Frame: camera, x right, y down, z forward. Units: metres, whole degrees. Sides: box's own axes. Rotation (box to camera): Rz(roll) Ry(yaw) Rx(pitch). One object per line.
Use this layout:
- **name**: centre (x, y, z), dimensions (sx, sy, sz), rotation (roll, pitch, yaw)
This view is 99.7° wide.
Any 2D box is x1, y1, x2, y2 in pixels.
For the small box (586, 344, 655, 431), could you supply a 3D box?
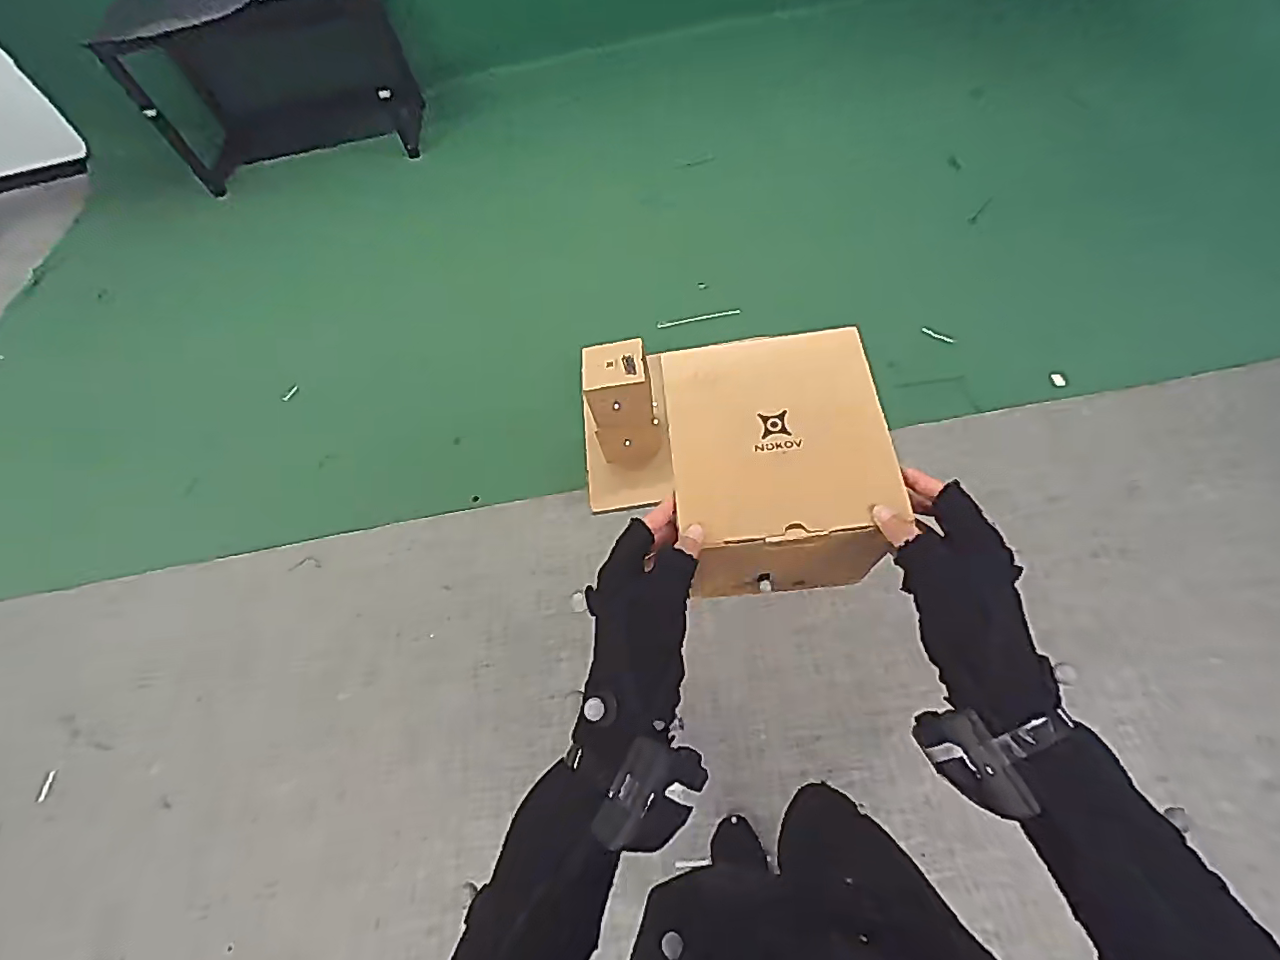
- **small box**: centre (-0.052, -0.263, 1.566), dimensions (0.179, 0.176, 0.168), rotation (-8, 57, 7)
